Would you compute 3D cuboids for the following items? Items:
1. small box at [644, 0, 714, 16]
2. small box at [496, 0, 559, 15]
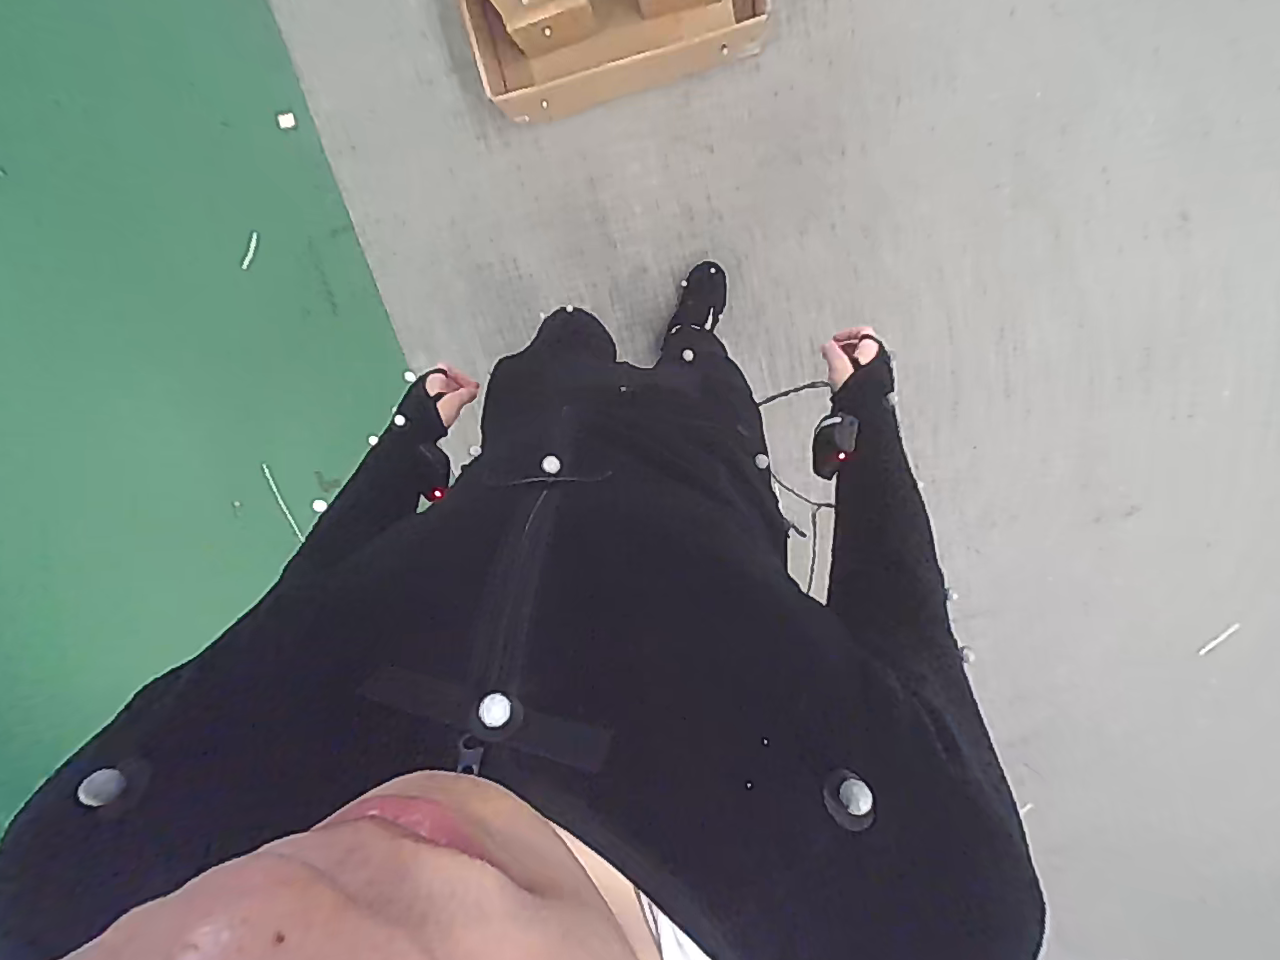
[{"bbox_3d":[0.081,-1.078,1.082,0.179,0.176,0.168,-5,111,11],"label":"small box"},{"bbox_3d":[-0.213,-0.993,0.981,0.168,0.176,0.179,-13,109,12],"label":"small box"}]
